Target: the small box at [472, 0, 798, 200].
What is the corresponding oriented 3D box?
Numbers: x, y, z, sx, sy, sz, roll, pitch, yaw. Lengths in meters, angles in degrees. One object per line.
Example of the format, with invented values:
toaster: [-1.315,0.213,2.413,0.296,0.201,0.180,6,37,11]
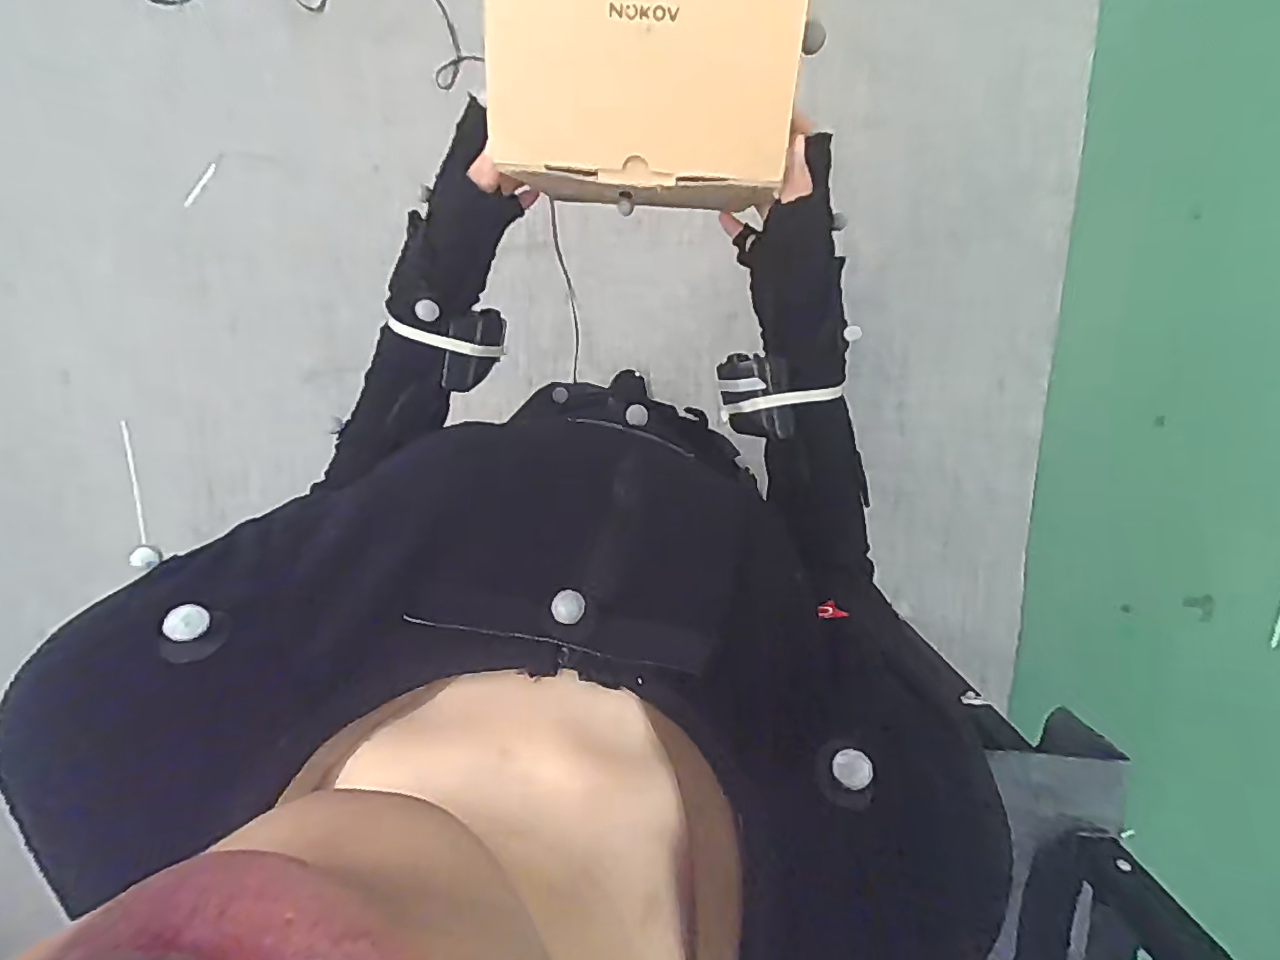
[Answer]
small box: [0.001,-0.284,0.338,0.168,0.176,0.179,4,113,2]
